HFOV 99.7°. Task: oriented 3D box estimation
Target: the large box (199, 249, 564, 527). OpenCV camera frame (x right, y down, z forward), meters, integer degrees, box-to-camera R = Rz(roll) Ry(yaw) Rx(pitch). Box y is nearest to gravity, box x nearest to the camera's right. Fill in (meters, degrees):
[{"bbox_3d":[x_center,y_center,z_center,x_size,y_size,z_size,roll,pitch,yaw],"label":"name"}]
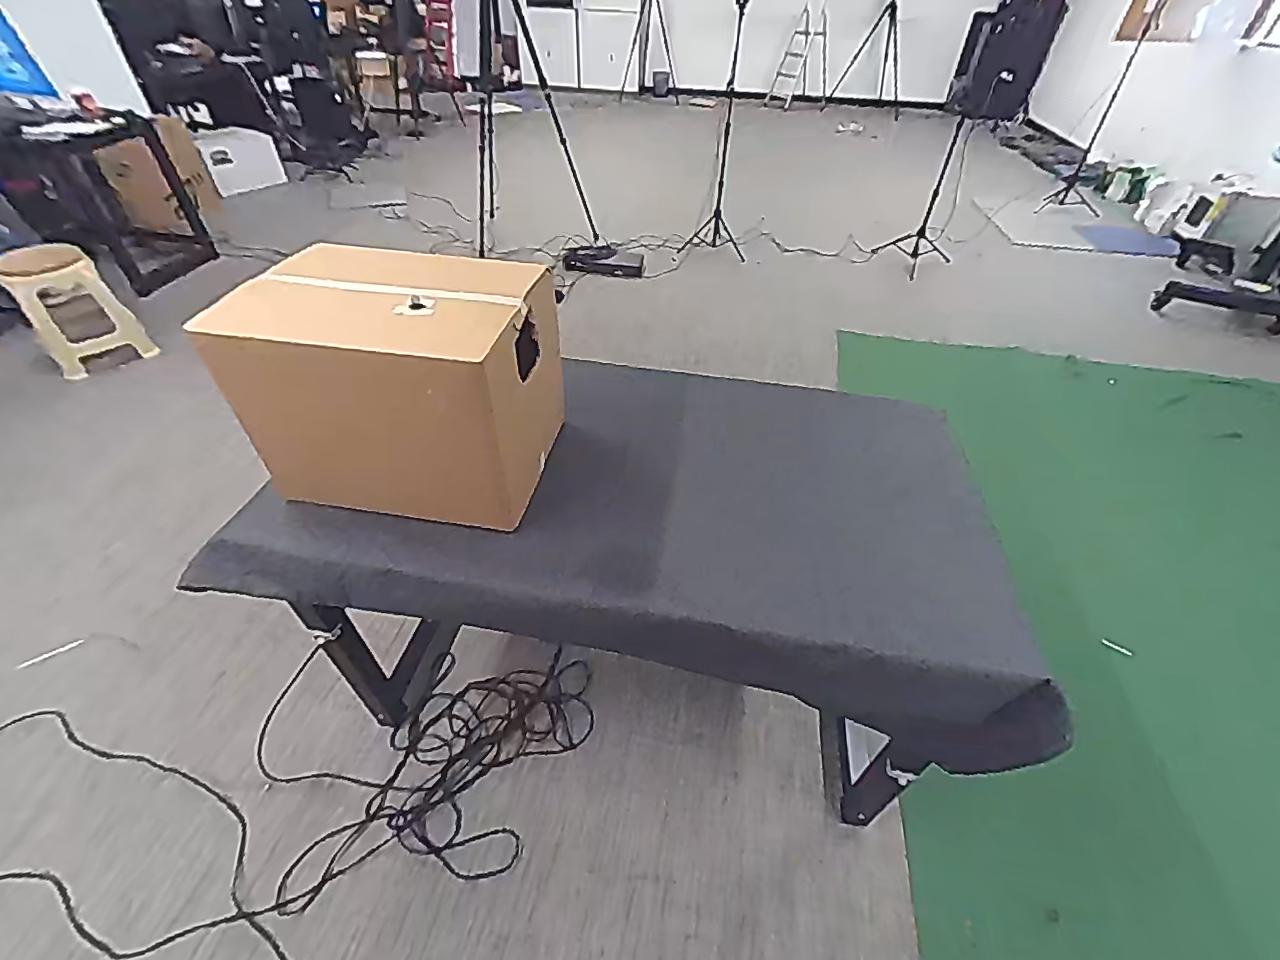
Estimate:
[{"bbox_3d":[-0.359,-0.154,0.885,0.408,0.320,0.320,8,43,4],"label":"large box"}]
